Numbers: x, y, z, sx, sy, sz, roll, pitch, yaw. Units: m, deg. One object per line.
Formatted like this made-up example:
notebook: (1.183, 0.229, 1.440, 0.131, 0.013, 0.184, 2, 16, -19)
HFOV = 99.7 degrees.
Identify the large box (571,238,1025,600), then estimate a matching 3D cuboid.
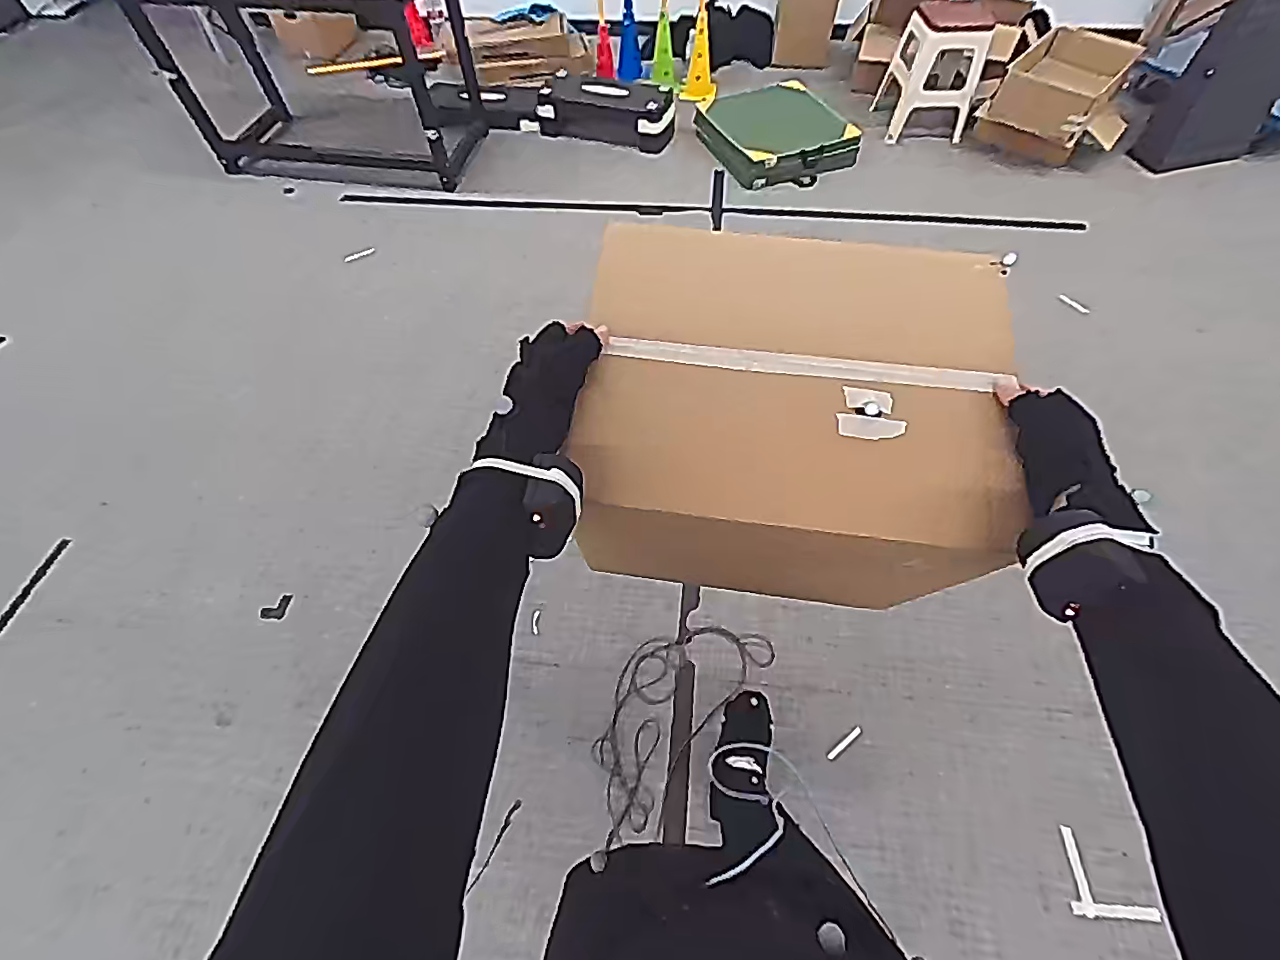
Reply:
large box: (0.153, -0.051, 0.663, 0.408, 0.320, 0.320, 7, 70, 4)
